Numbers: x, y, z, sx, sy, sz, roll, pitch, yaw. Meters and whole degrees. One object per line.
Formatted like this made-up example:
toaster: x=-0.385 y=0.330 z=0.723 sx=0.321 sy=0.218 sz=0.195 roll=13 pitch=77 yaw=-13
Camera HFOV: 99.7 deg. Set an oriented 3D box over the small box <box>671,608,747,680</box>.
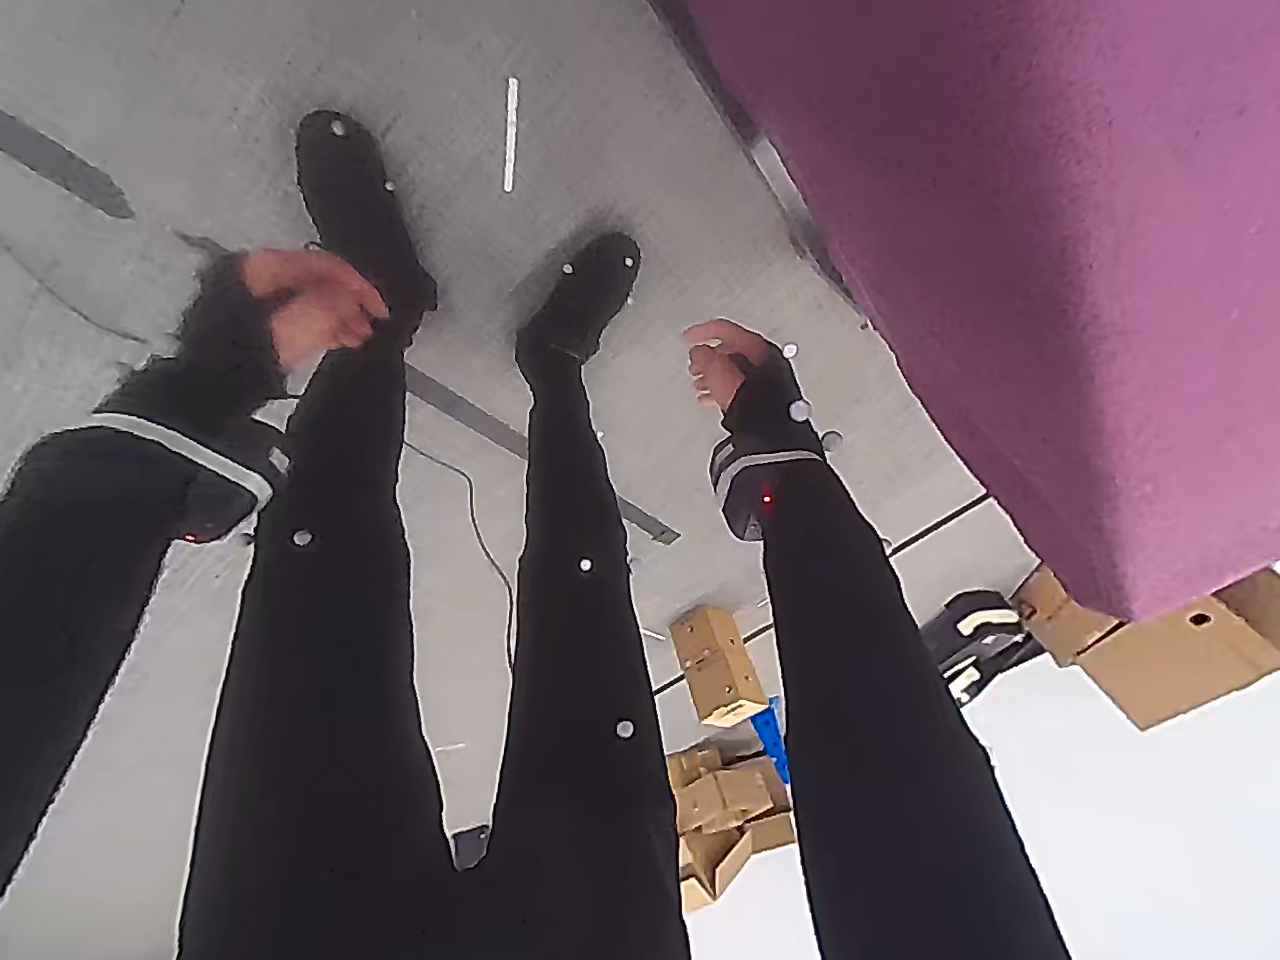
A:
small box: x=0.232 y=0.561 z=1.849 sx=0.168 sy=0.176 sz=0.179 roll=-40 pitch=133 yaw=23
